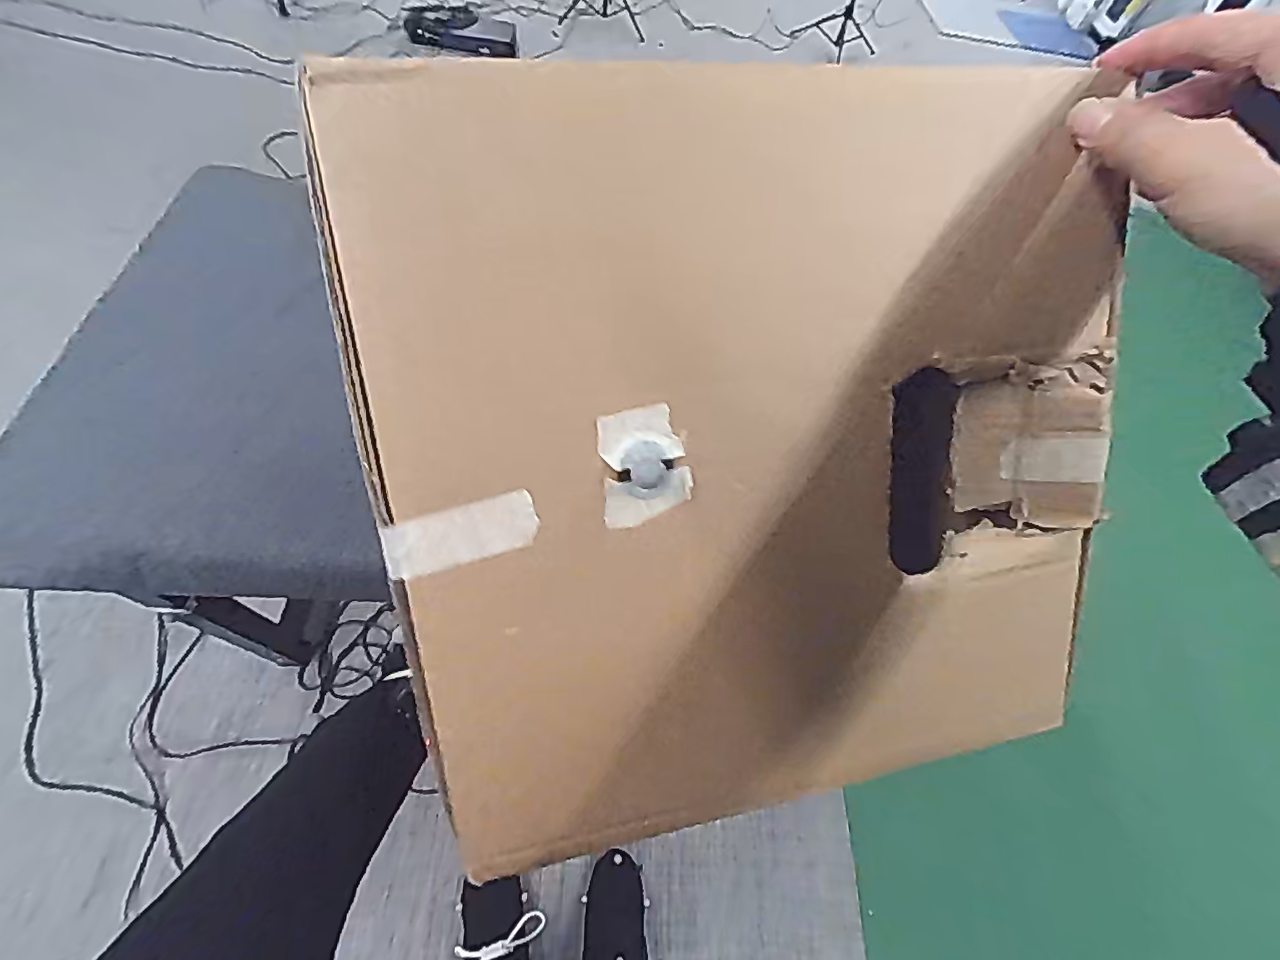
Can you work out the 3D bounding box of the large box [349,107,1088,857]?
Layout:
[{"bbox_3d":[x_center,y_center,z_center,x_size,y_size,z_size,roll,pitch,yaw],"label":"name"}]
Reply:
[{"bbox_3d":[0.016,-0.037,0.421,0.320,0.408,0.320,-9,105,-13],"label":"large box"}]
